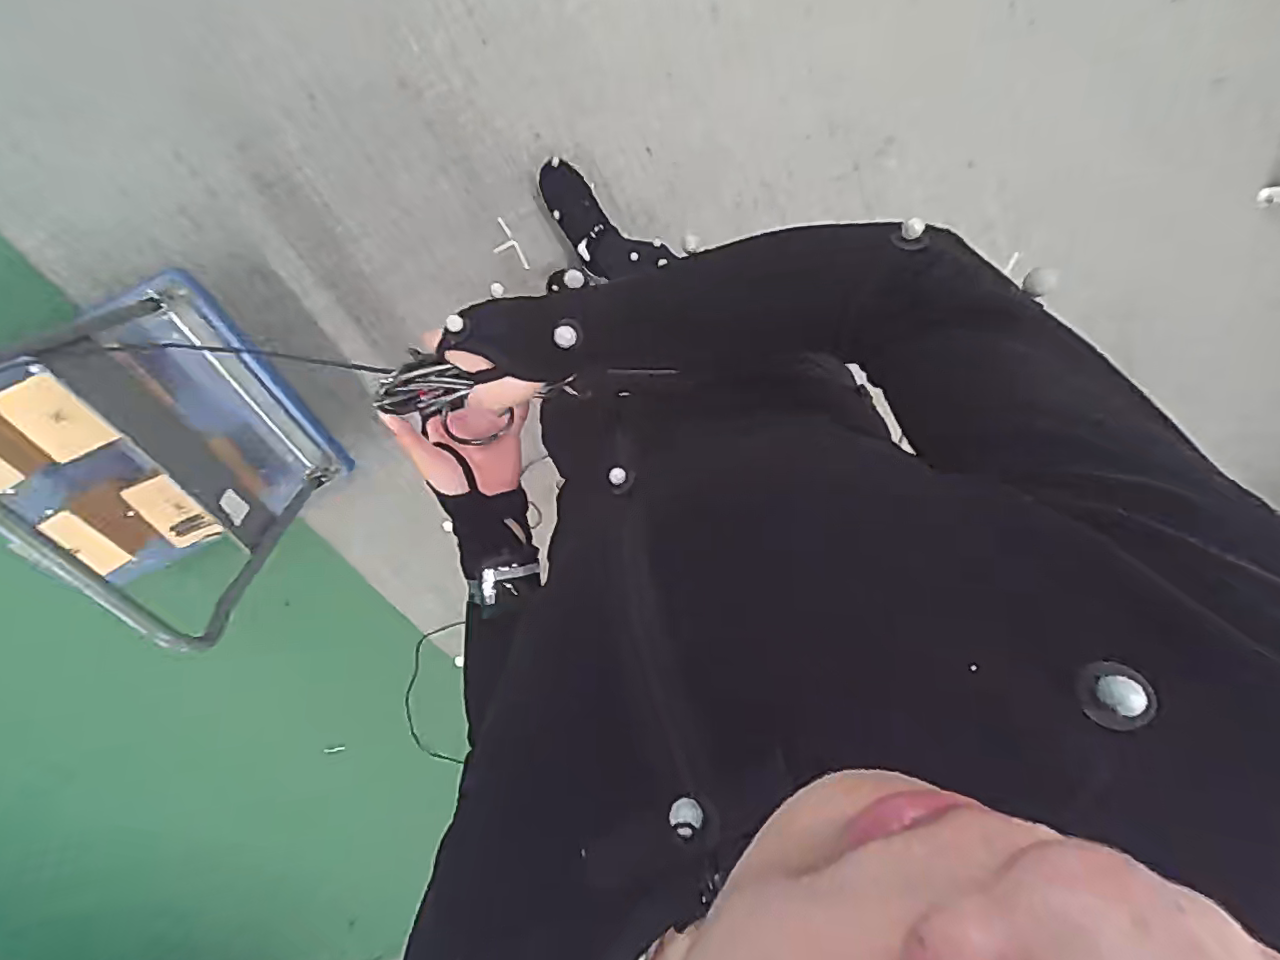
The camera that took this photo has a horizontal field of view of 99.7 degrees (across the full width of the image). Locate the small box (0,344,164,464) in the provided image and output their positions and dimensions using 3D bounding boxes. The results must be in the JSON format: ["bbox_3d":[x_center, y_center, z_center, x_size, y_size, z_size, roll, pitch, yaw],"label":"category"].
[{"bbox_3d":[-1.195,-0.167,1.158,0.179,0.176,0.168,-24,121,3],"label":"small box"}]

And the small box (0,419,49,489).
[{"bbox_3d":[-1.432,-0.066,1.173,0.179,0.176,0.168,-26,122,5],"label":"small box"}]

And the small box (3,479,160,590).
[{"bbox_3d":[-1.325,0.126,1.306,0.179,0.176,0.168,-27,120,6],"label":"small box"}]
